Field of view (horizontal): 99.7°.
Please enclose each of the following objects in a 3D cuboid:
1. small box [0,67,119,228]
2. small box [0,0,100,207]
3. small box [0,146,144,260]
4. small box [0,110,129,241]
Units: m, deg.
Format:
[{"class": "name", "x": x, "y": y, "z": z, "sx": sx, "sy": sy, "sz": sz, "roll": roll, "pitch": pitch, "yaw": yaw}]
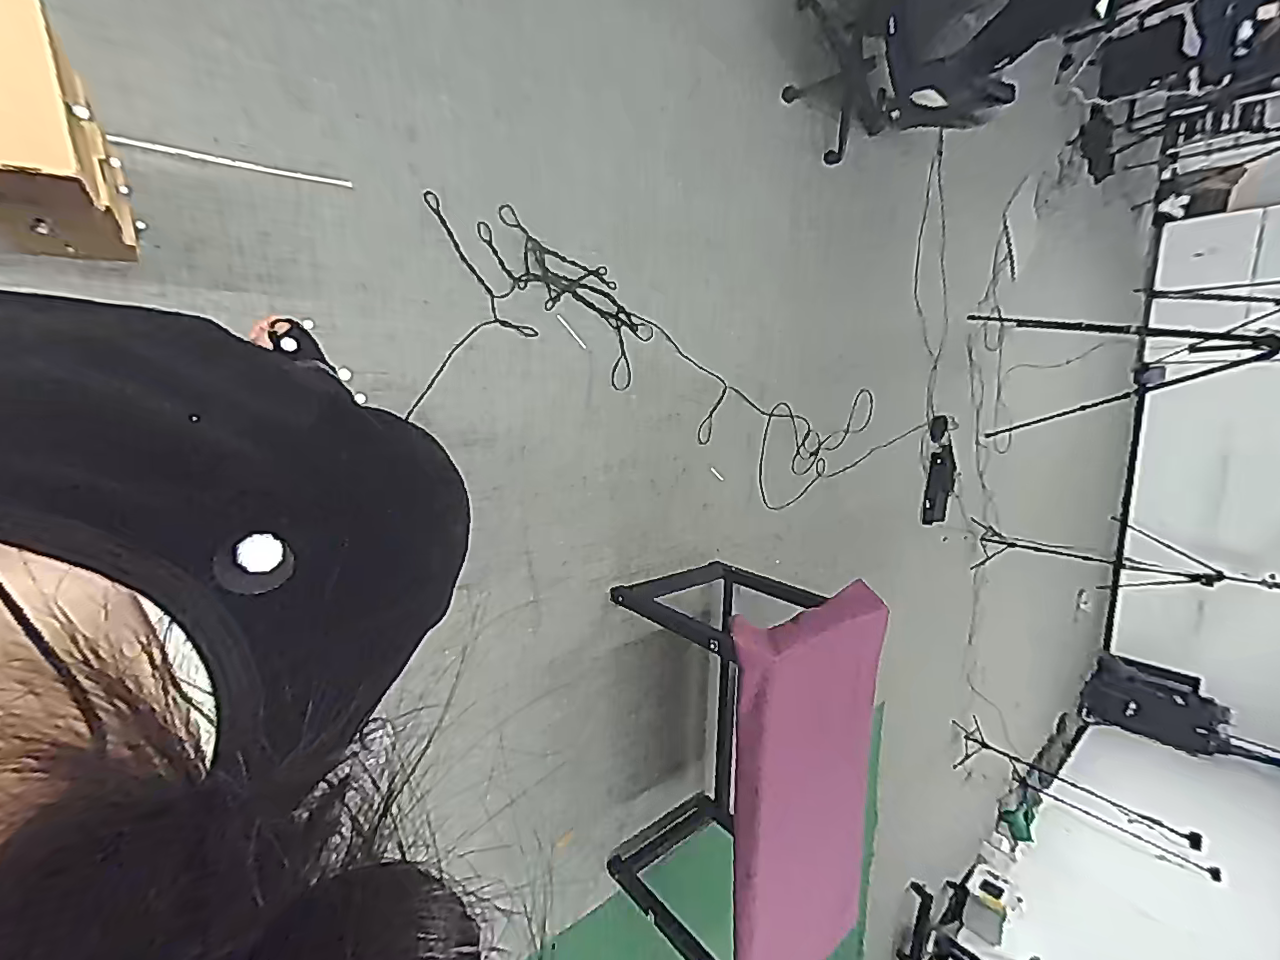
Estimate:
[{"class": "small box", "x": -0.825, "y": -0.445, "z": 0.716, "sx": 0.179, "sy": 0.176, "sz": 0.168, "roll": -12, "pitch": 105, "yaw": -38}, {"class": "small box", "x": -0.728, "y": -0.420, "z": 0.587, "sx": 0.168, "sy": 0.176, "sz": 0.179, "roll": -11, "pitch": 106, "yaw": -37}, {"class": "small box", "x": -1.026, "y": -0.502, "z": 0.969, "sx": 0.179, "sy": 0.176, "sz": 0.168, "roll": -9, "pitch": 103, "yaw": -38}, {"class": "small box", "x": -0.931, "y": -0.480, "z": 0.836, "sx": 0.179, "sy": 0.176, "sz": 0.168, "roll": -9, "pitch": 104, "yaw": -38}]
